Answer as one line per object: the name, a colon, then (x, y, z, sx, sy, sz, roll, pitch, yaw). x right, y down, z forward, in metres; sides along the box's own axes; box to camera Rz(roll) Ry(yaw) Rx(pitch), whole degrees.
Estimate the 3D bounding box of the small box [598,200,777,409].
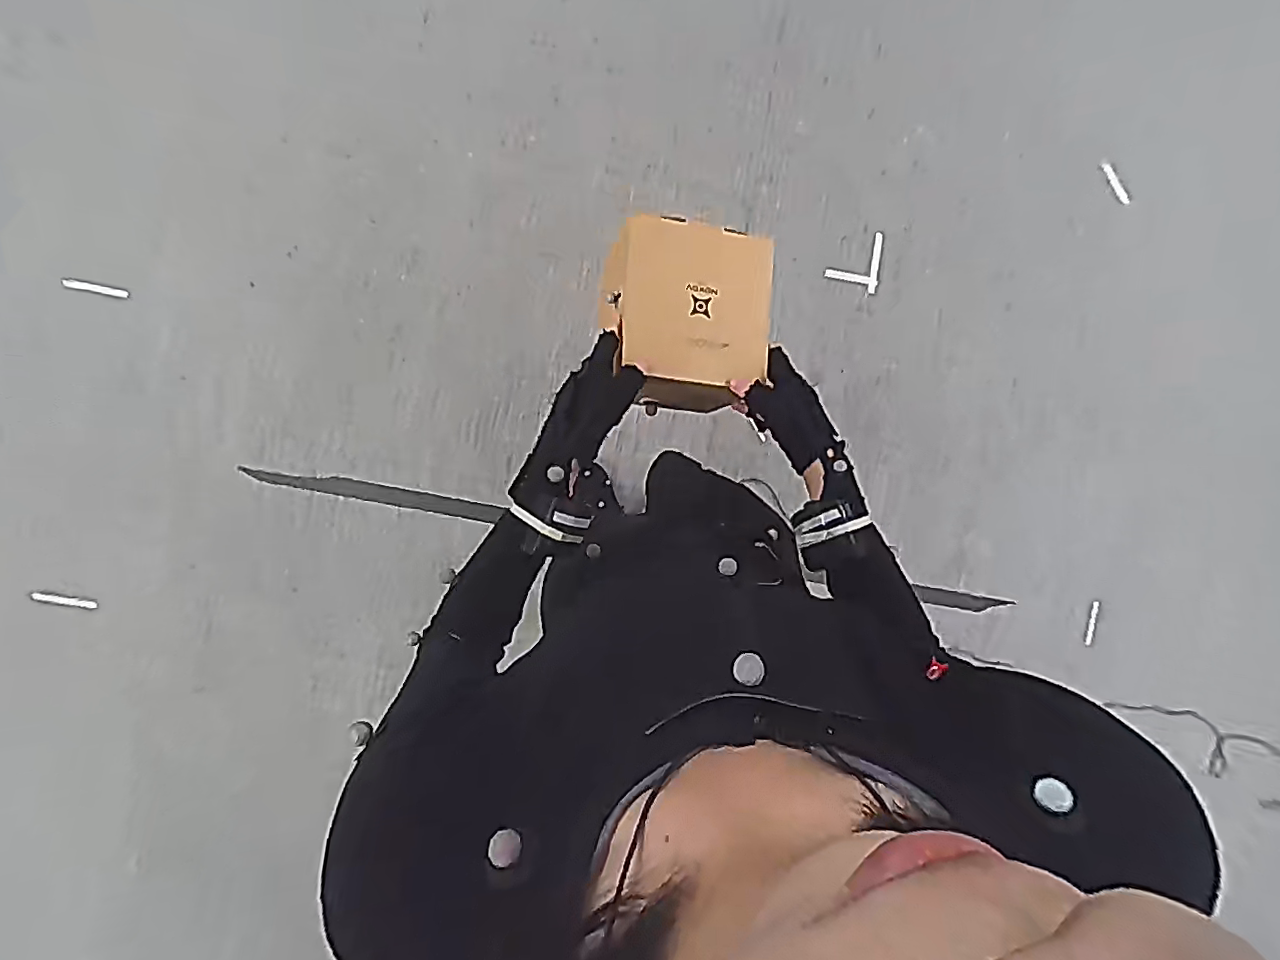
small box: (0.047, -0.192, 0.647, 0.168, 0.176, 0.179, 5, 87, -14)
